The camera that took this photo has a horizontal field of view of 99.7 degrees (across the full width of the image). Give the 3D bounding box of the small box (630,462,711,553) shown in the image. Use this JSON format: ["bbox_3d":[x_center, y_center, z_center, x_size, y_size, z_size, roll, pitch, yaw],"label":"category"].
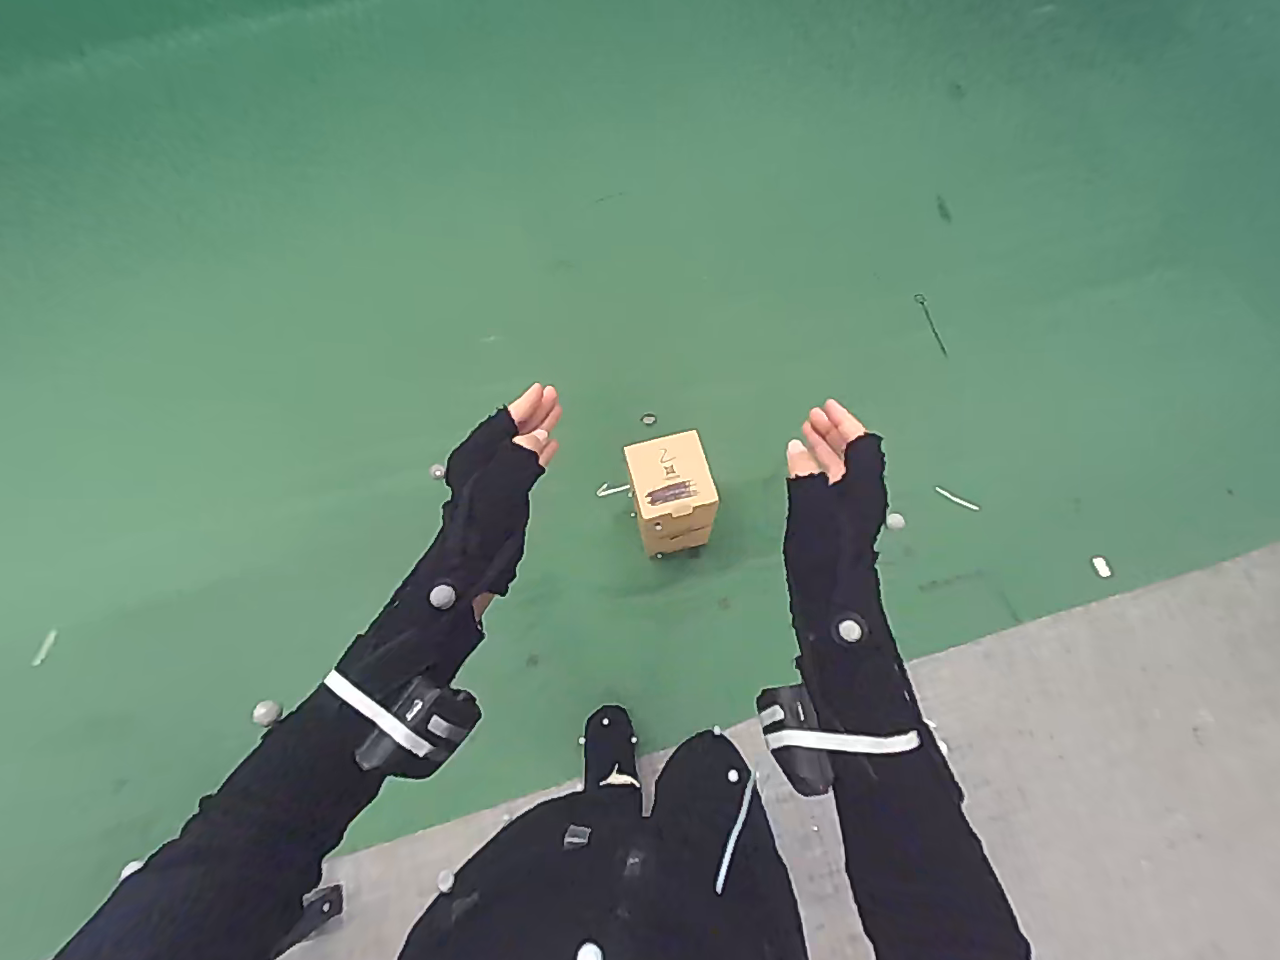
[{"bbox_3d":[0.076,0.079,1.380,0.168,0.176,0.179,-14,69,-4],"label":"small box"}]
